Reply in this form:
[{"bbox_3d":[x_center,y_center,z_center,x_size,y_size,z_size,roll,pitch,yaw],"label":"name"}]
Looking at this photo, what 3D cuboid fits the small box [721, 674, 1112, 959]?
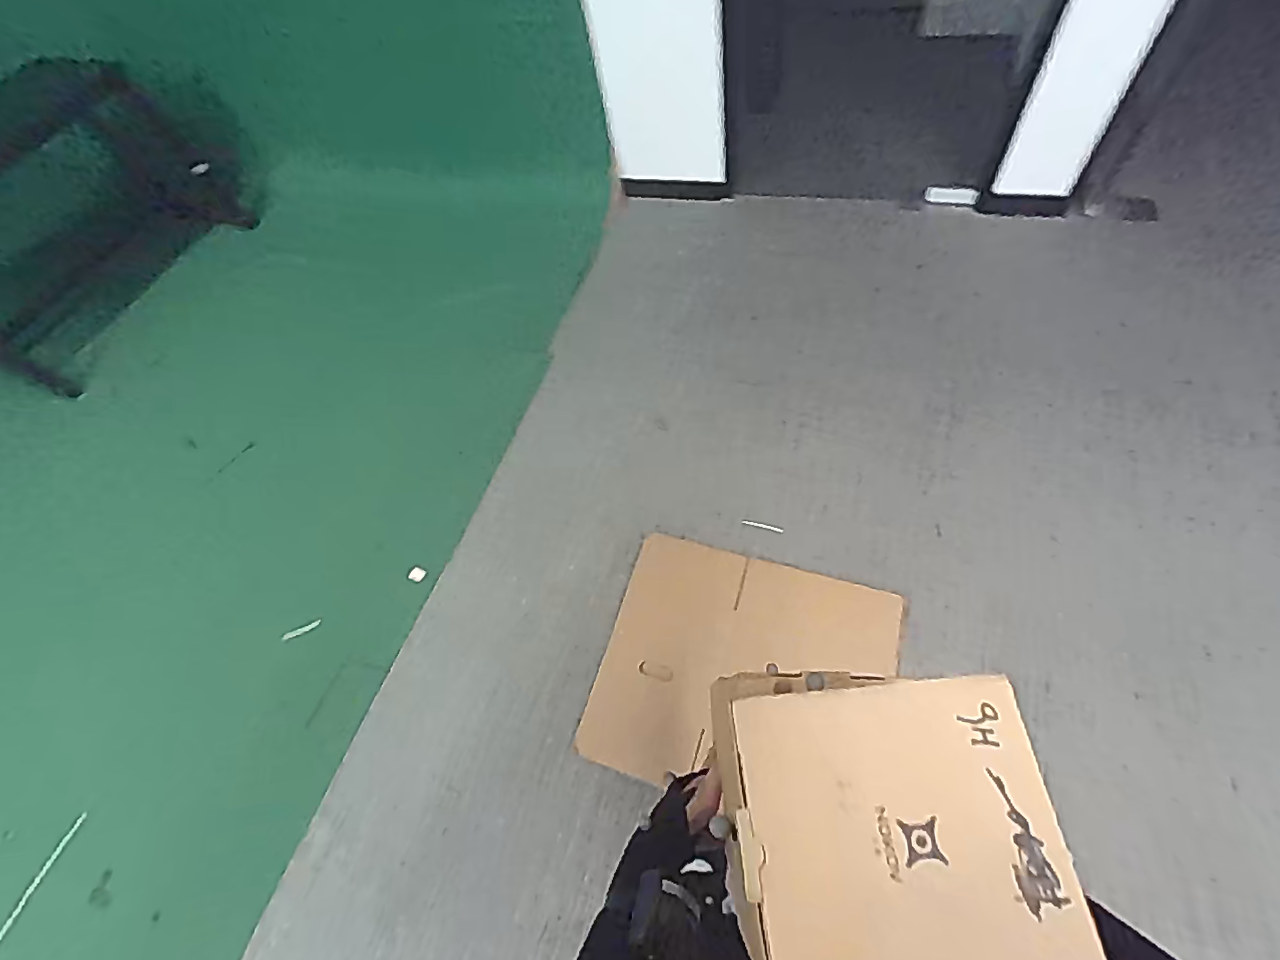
[{"bbox_3d":[0.152,0.234,0.370,0.179,0.176,0.168,-6,65,1],"label":"small box"}]
